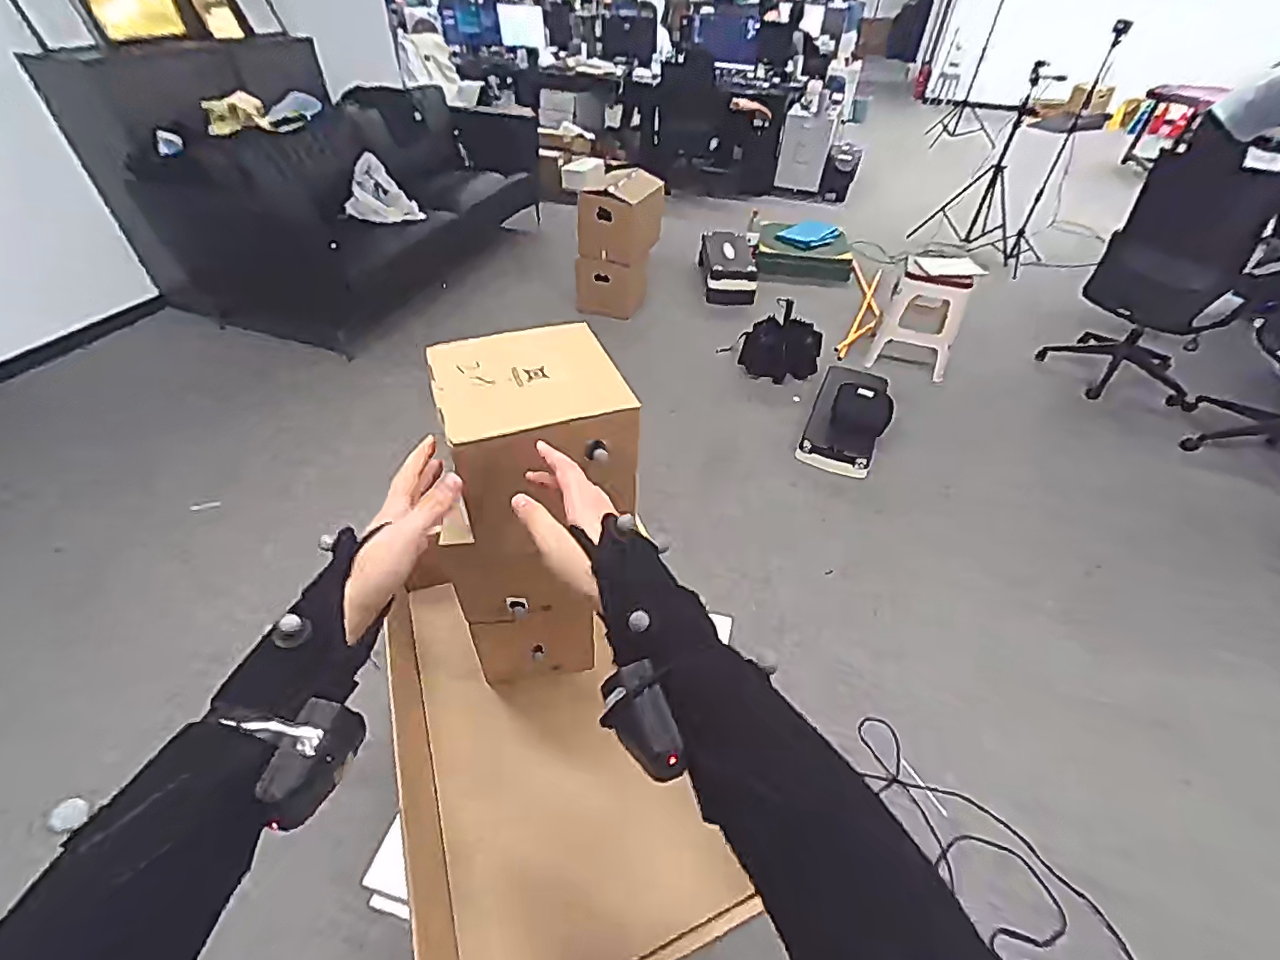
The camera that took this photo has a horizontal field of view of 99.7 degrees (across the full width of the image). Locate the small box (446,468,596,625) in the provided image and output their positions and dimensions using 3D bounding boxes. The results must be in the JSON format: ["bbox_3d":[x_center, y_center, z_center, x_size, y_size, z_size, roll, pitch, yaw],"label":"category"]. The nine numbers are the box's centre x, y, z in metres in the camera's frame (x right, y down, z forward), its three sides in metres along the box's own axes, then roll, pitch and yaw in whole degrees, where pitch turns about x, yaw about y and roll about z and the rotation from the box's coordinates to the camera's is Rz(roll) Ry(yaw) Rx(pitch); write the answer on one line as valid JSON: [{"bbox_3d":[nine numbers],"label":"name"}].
[{"bbox_3d":[-0.146,0.069,0.720,0.168,0.176,0.179,-4,45,-6],"label":"small box"}]

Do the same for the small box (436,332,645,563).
[{"bbox_3d":[-0.108,-0.038,0.596,0.179,0.176,0.168,-15,46,-18],"label":"small box"}]
